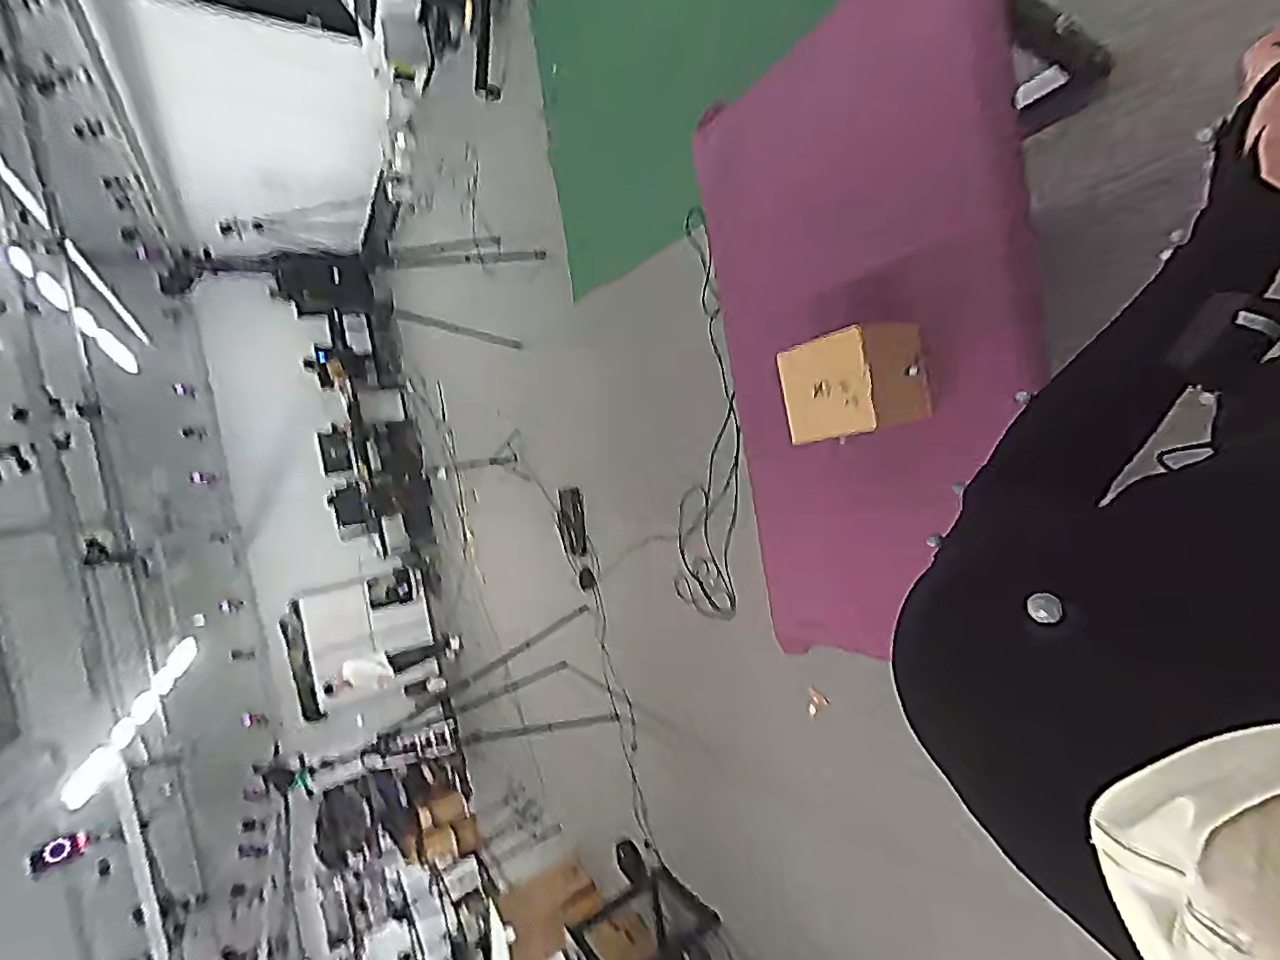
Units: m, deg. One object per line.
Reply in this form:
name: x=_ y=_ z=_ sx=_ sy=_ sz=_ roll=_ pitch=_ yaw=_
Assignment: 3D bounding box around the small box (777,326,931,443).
small box: x=0.376 y=-0.165 z=0.957 sx=0.179 sy=0.176 sz=0.168 roll=-10 pitch=92 yaw=57
